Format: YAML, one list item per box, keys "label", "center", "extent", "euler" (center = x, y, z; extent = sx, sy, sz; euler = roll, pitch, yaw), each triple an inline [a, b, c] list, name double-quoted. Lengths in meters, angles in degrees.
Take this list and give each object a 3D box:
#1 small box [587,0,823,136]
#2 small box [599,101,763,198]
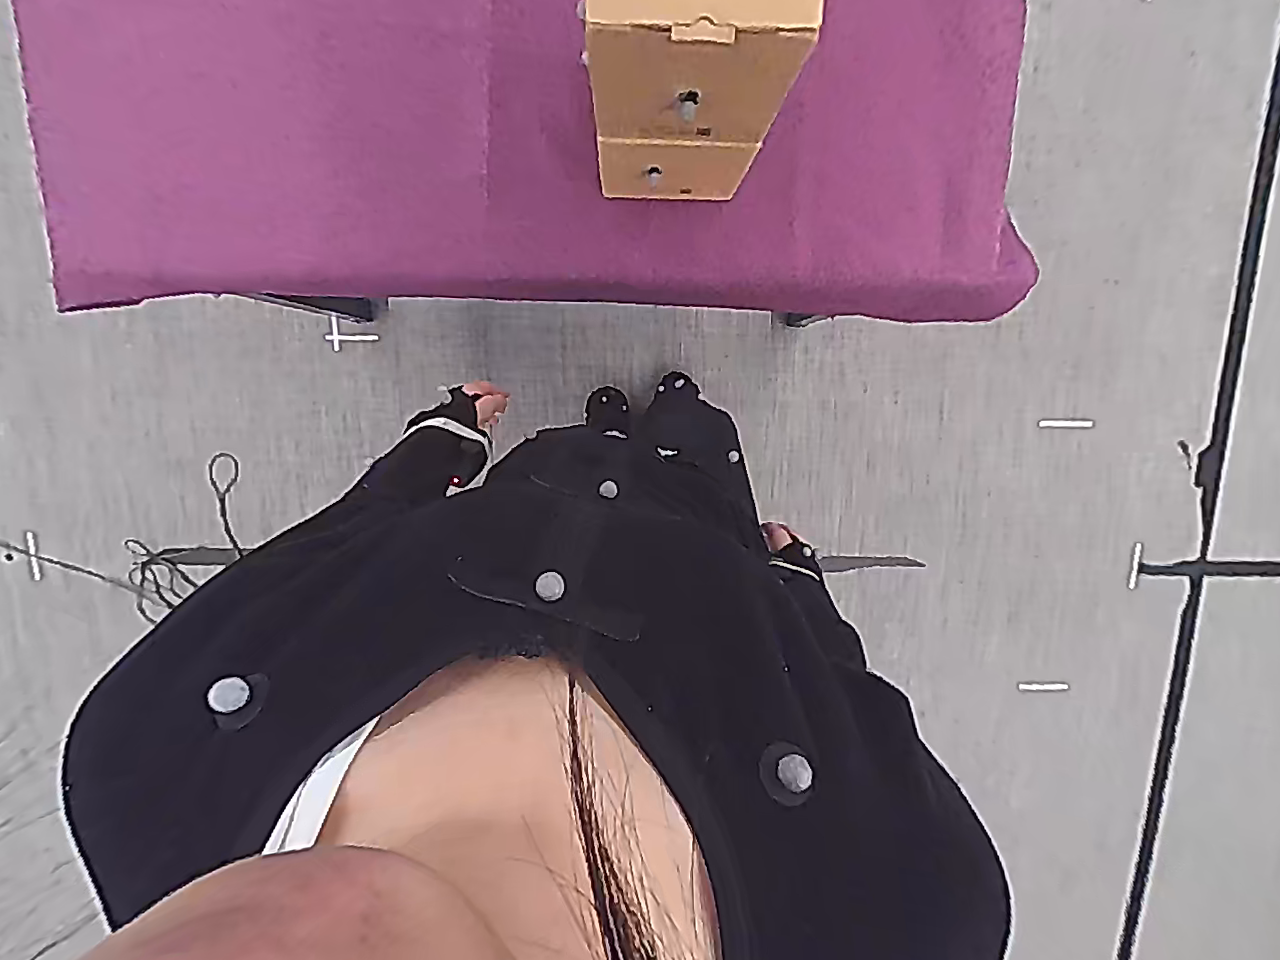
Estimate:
- label: "small box"
  center: [0.048, -0.409, 0.439]
  extent: [0.168, 0.176, 0.179]
  euler: [2, 100, -2]
- label: "small box"
  center: [0.043, -0.432, 0.602]
  extent: [0.168, 0.176, 0.179]
  euler: [1, 99, -1]
